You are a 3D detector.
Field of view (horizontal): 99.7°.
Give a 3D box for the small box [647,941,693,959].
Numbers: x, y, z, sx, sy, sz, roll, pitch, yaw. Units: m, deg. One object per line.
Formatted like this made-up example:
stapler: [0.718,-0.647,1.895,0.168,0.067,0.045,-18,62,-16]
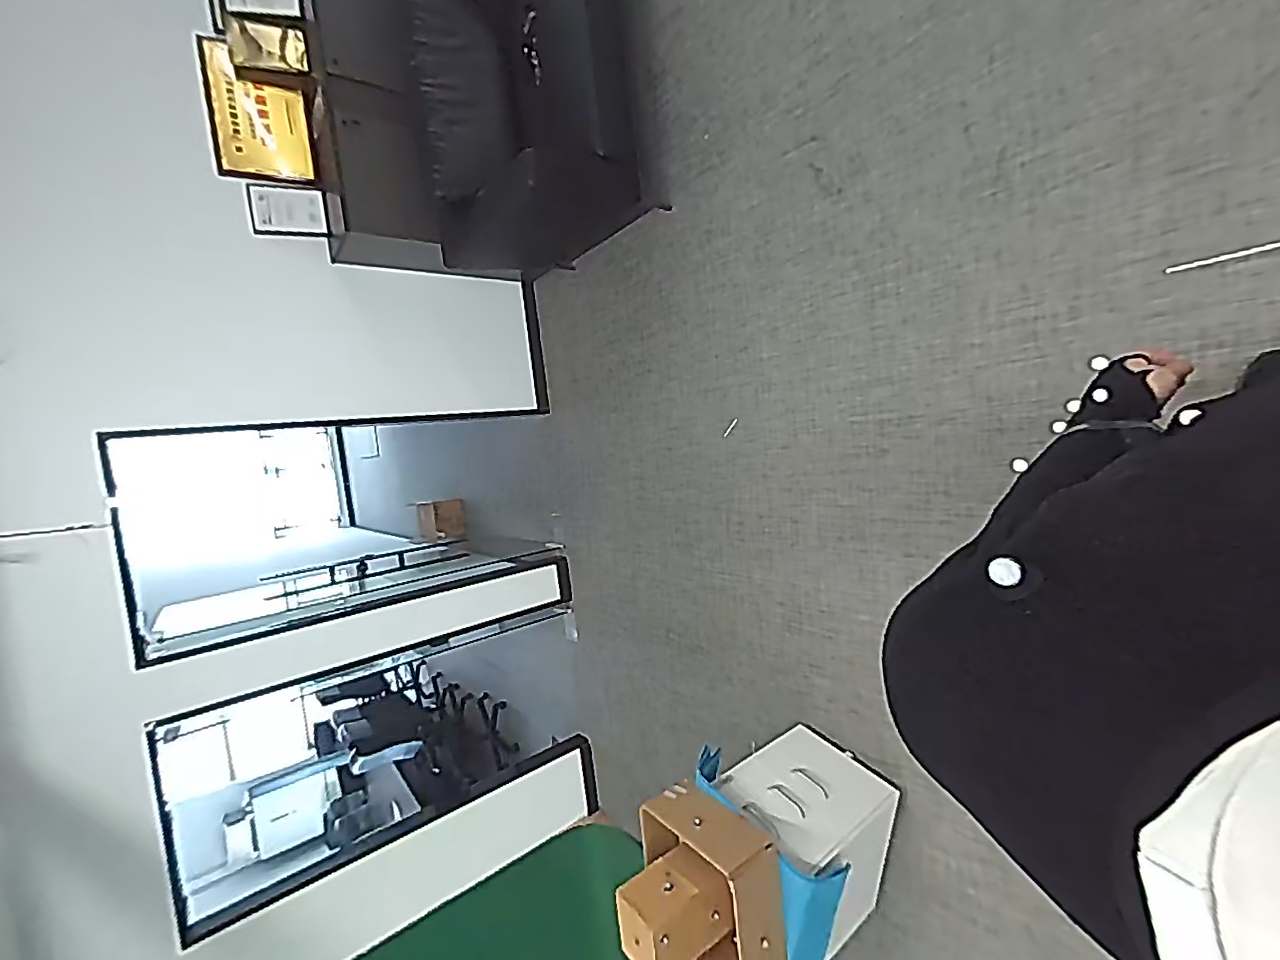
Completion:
small box: [0.087,1.428,1.467,0.168,0.176,0.179,0,96,53]
